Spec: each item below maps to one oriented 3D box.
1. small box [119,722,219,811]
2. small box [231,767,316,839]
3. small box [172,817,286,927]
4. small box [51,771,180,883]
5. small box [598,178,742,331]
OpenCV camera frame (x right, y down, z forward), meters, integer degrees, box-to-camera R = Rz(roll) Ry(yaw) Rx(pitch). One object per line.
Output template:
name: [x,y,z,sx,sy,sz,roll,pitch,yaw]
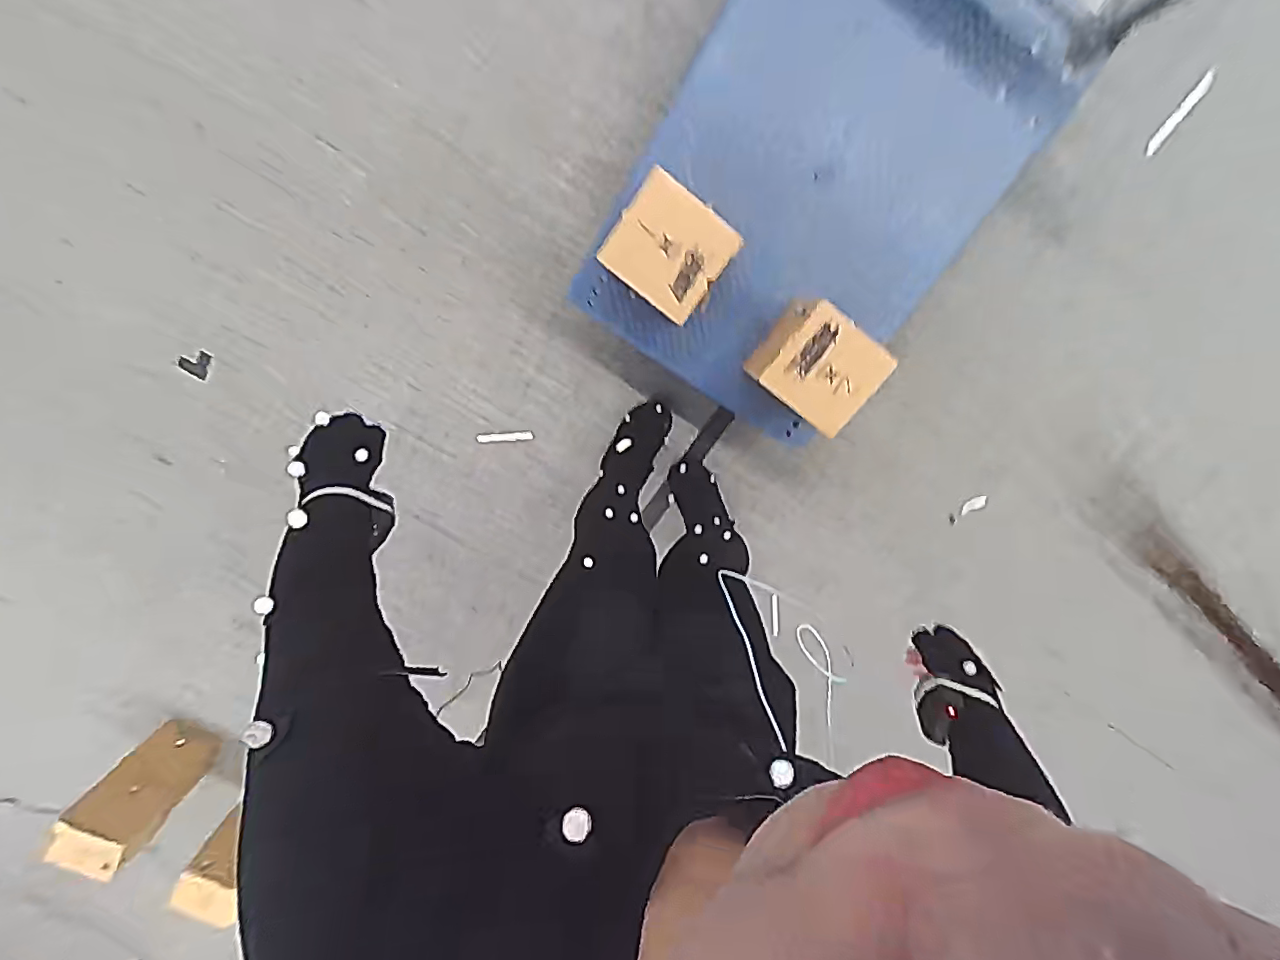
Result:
small box: [-1.426,0.880,1.634,0.168,0.176,0.179,30,107,-8]
small box: [-1.155,1.044,1.682,0.168,0.176,0.179,33,106,-10]
small box: [-1.153,1.102,1.530,0.179,0.176,0.168,30,108,-8]
small box: [-1.428,0.939,1.480,0.179,0.176,0.168,30,108,-7]
small box: [0.051,-0.384,0.942,0.179,0.176,0.168,36,106,-9]
